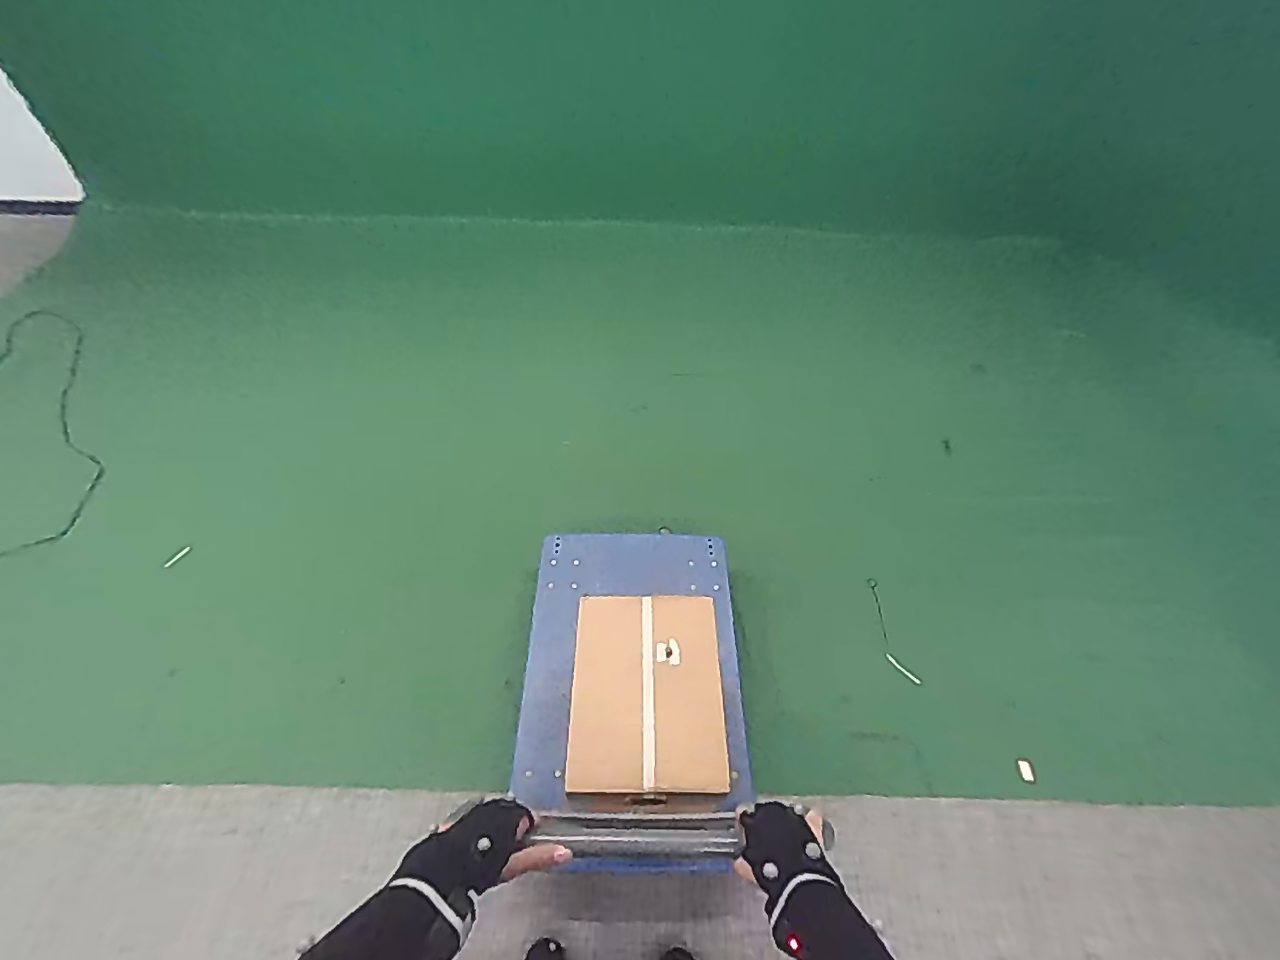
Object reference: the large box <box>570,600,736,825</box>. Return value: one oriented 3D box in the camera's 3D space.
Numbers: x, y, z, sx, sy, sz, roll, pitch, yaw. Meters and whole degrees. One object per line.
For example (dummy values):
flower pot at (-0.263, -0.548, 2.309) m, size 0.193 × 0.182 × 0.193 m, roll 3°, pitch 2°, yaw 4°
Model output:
large box at (0.021, 0.526, 1.228) m, size 0.320 × 0.320 × 0.408 m, roll 1°, pitch 49°, yaw -1°
